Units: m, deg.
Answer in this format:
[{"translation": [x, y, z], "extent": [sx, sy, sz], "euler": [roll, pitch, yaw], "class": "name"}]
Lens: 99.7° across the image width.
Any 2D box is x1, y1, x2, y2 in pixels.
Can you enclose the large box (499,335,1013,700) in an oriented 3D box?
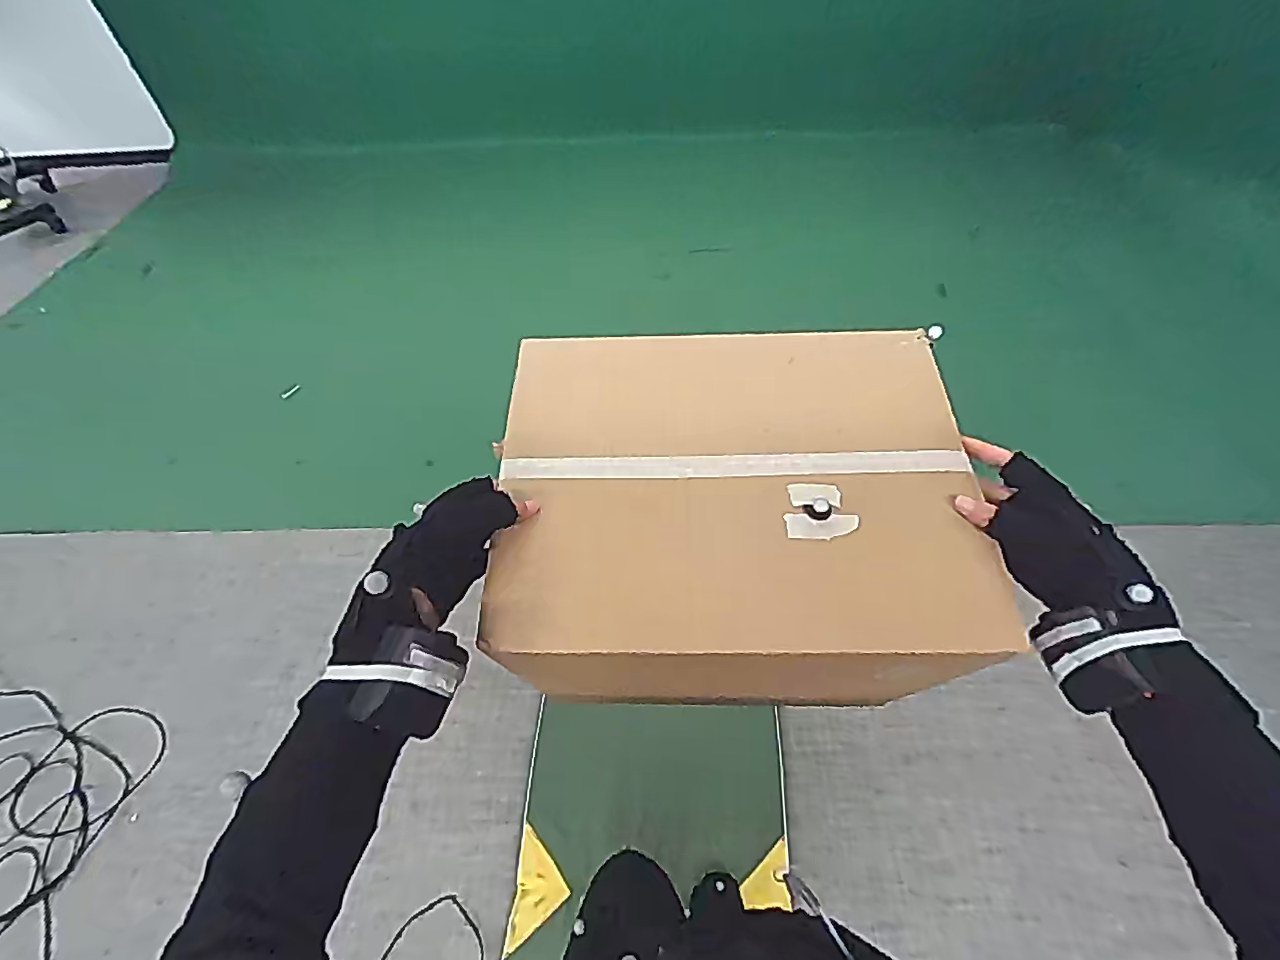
[{"translation": [0.088, 0.061, 0.614], "extent": [0.408, 0.320, 0.320], "euler": [-1, 61, 1], "class": "large box"}]
